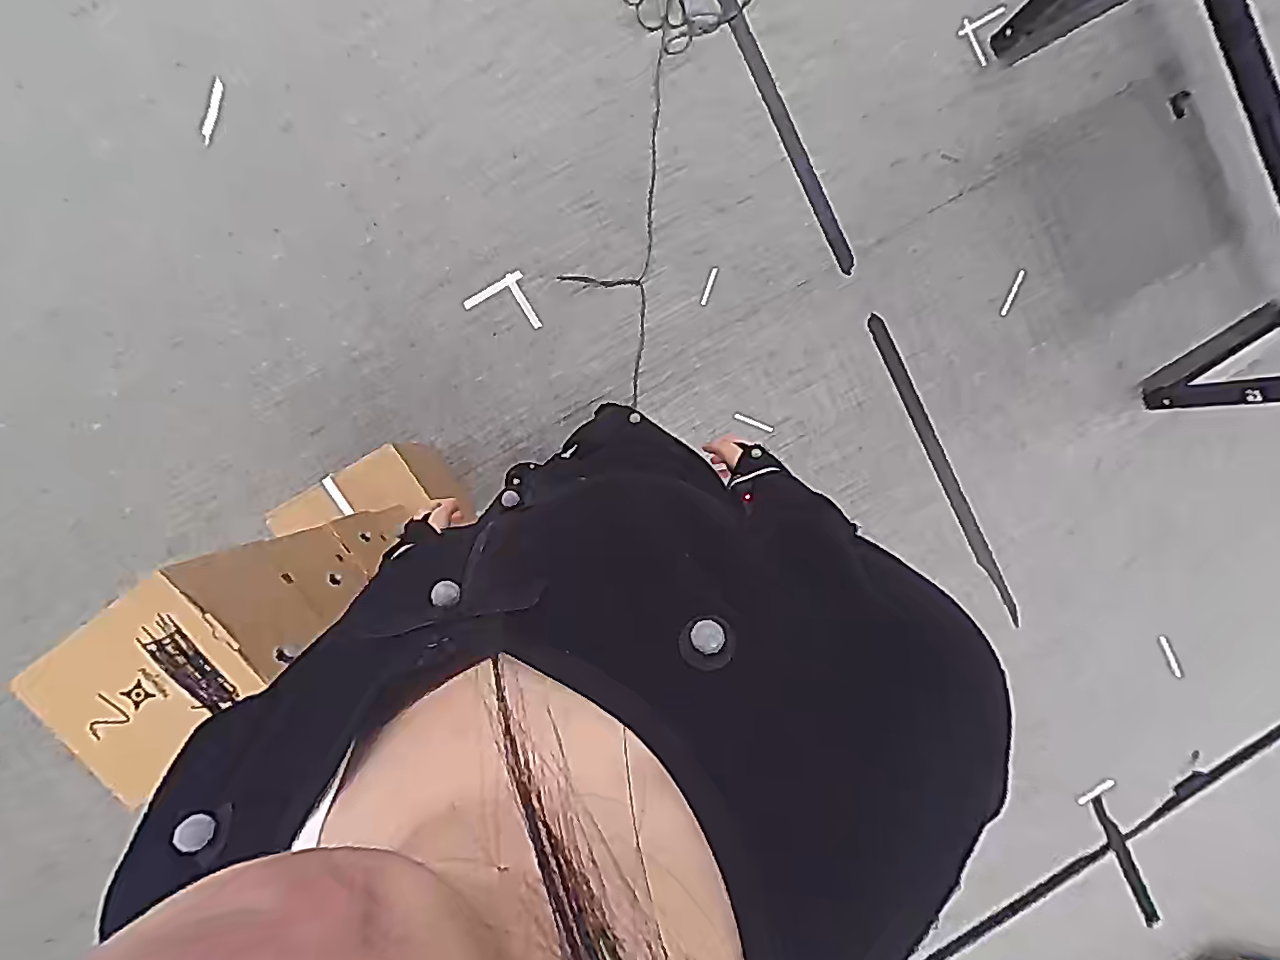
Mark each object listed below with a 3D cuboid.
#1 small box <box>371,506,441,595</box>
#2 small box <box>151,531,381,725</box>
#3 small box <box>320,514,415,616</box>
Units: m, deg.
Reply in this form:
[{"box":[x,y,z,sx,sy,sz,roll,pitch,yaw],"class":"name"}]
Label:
[{"box":[-0.530,0.170,1.079,0.179,0.176,0.168,-33,97,-4],"class":"small box"},{"box":[-0.494,0.190,0.755,0.179,0.176,0.168,-38,95,-3],"class":"small box"},{"box":[-0.511,0.174,0.918,0.179,0.176,0.168,-34,95,-2],"class":"small box"}]
